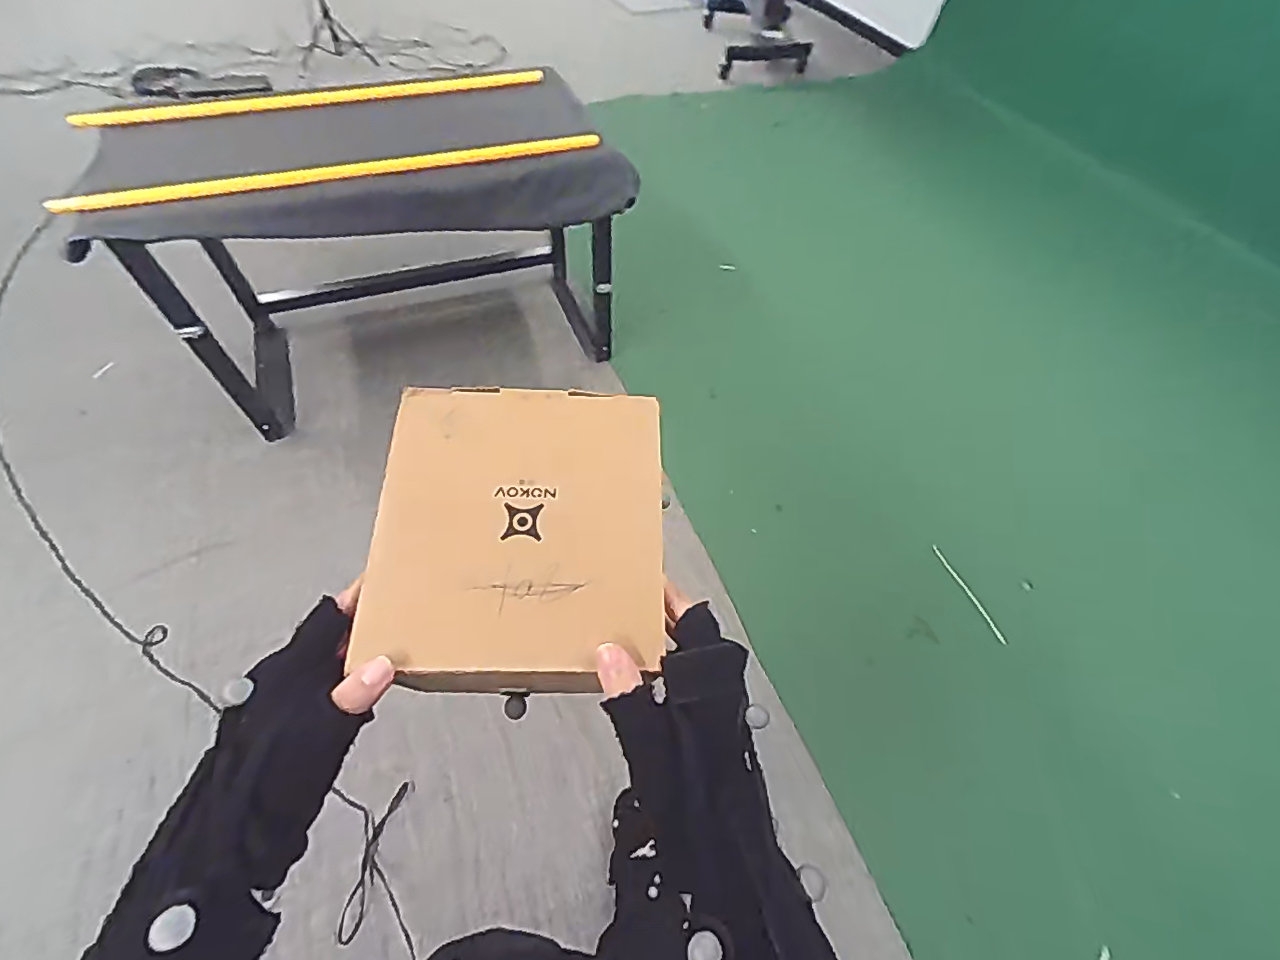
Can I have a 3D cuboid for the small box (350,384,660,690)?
[{"bbox_3d":[-0.078,0.052,0.394,0.168,0.176,0.179,1,65,-4],"label":"small box"}]
